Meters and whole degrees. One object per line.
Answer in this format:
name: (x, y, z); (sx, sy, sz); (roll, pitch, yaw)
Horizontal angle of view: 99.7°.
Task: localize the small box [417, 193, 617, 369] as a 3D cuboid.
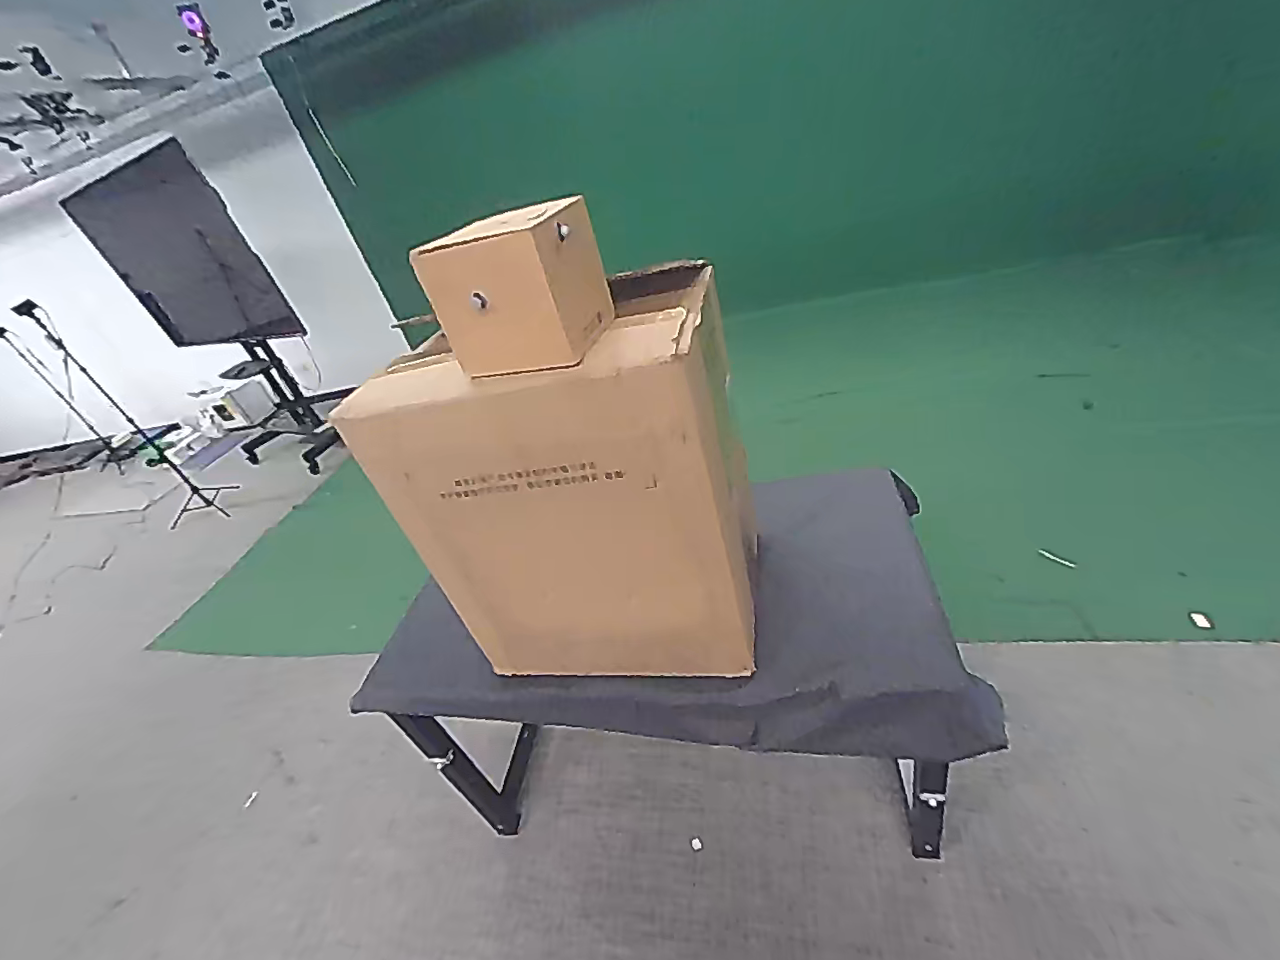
small box: (-0.153, -0.262, 0.730); (0.179, 0.176, 0.168); (-2, 37, 22)
